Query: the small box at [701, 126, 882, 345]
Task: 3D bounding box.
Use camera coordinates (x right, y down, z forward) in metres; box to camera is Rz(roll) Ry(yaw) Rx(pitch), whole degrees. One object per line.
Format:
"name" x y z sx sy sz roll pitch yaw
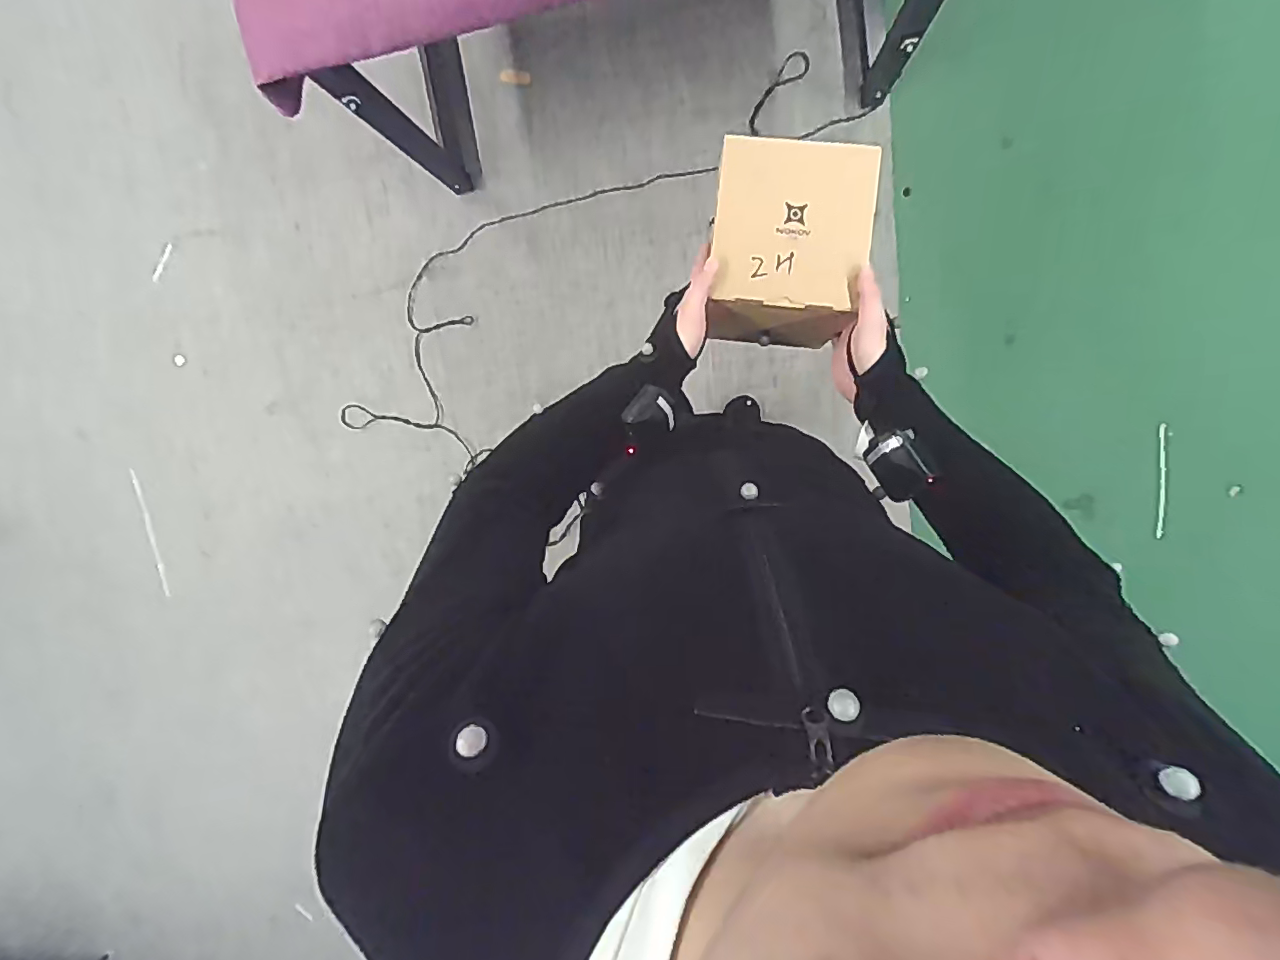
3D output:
"small box" 0.164 -0.274 0.639 0.168 0.176 0.179 7 91 4
